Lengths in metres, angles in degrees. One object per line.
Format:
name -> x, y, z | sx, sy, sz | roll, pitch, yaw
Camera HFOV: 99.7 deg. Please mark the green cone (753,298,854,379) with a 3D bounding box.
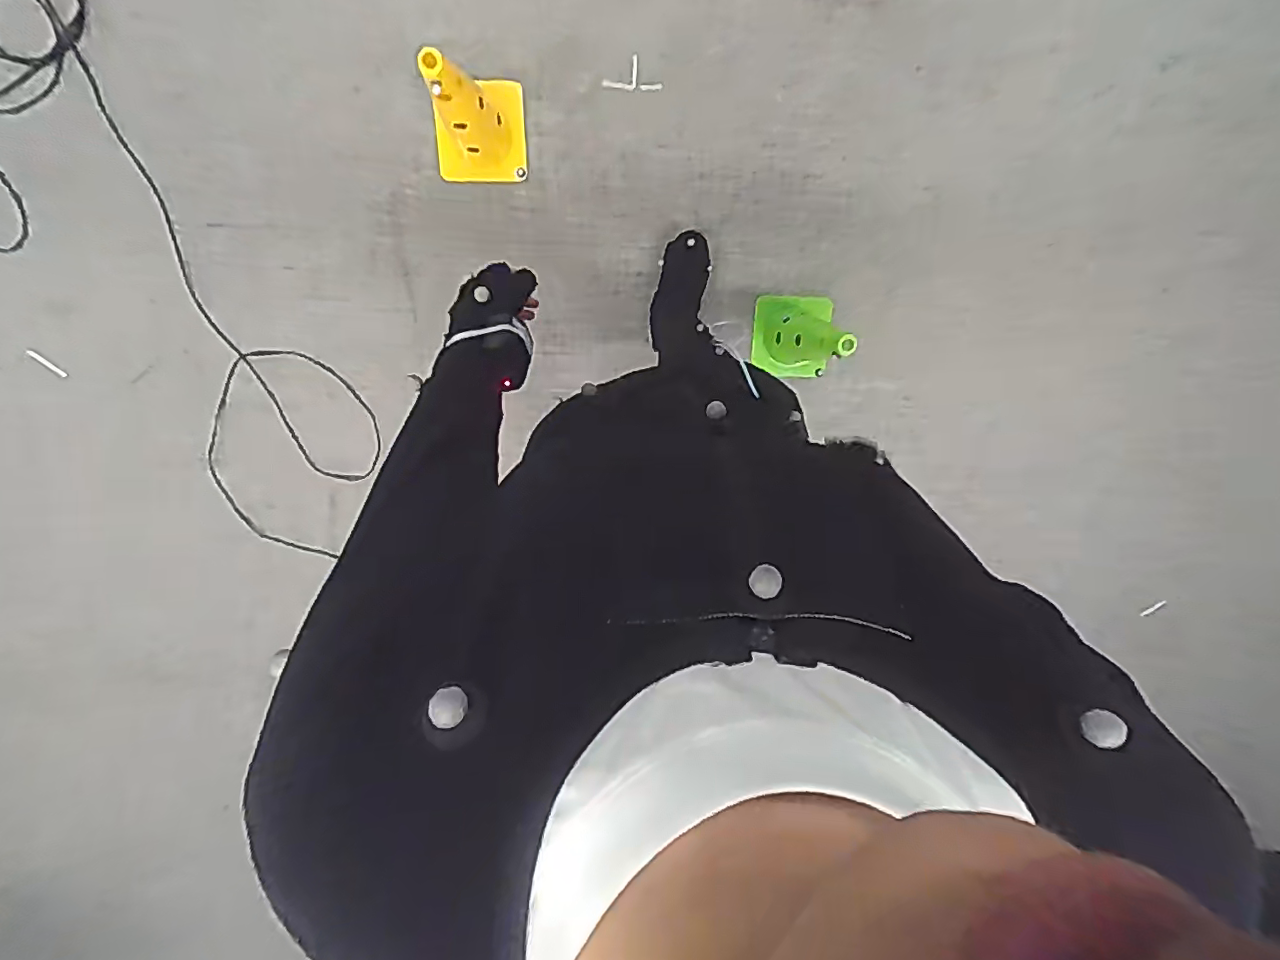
green cone -> 0.398, -0.314, 1.224 | 0.202, 0.368, 0.200 | 0, 106, -2
